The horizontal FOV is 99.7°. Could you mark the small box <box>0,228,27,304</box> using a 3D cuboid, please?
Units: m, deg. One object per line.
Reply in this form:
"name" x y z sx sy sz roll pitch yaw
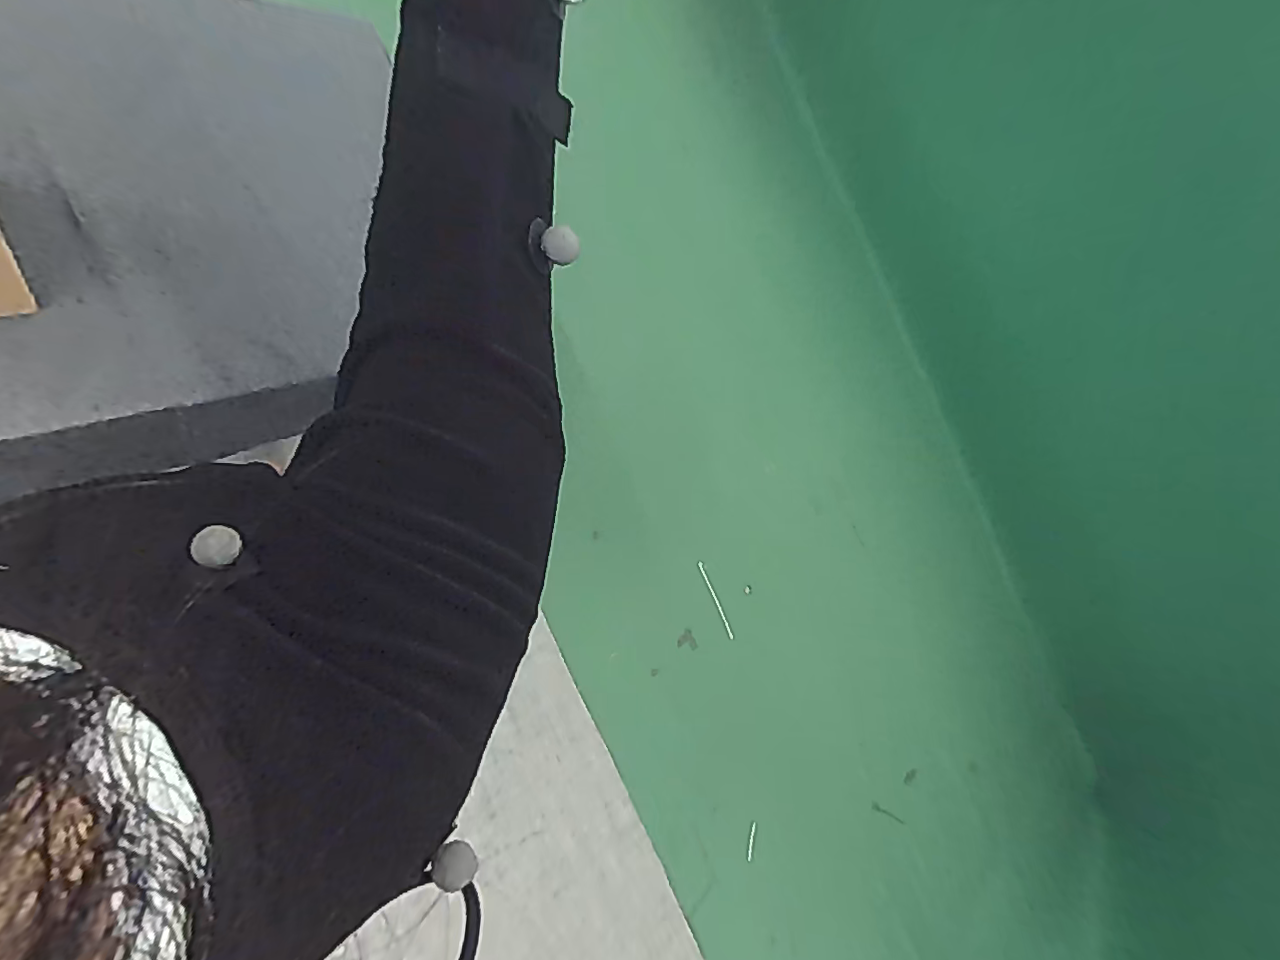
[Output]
"small box" -0.712 -0.264 0.480 0.168 0.176 0.179 -26 91 -39
